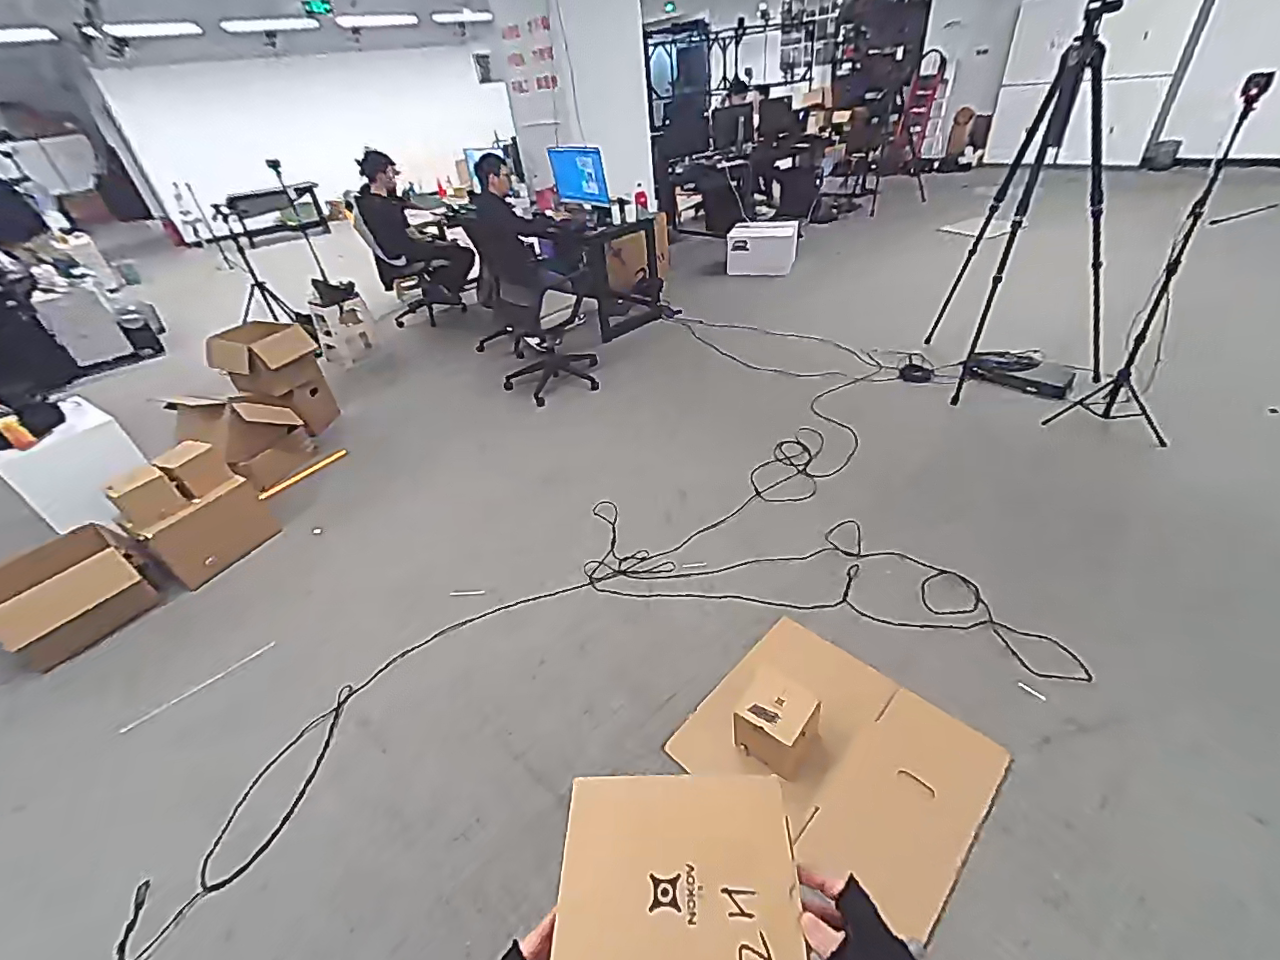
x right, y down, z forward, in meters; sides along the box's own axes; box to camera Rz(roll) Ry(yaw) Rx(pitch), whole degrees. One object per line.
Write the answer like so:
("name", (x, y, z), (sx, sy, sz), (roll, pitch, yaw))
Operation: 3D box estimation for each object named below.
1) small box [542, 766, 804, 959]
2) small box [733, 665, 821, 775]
("small box", (0.032, 0.354, 0.436), (0.179, 0.176, 0.168), (-4, 37, 6))
("small box", (0.368, 0.646, 1.452), (0.168, 0.176, 0.179), (22, 45, 36))
